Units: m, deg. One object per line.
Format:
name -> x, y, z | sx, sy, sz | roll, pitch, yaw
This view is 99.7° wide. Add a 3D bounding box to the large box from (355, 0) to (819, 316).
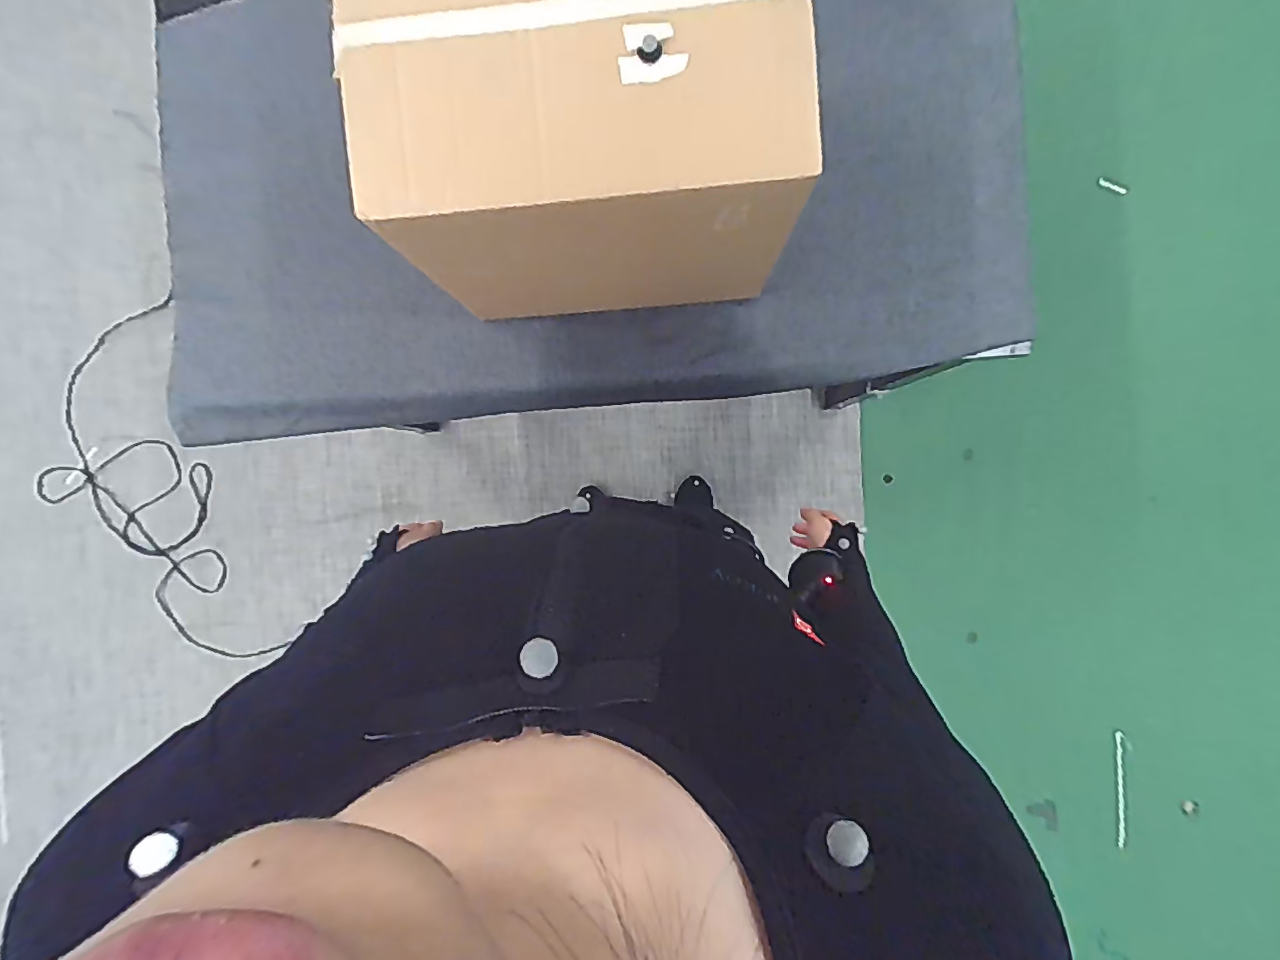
large box -> -0.051, -0.403, 0.625 | 0.408, 0.320, 0.320 | -5, 91, 2
